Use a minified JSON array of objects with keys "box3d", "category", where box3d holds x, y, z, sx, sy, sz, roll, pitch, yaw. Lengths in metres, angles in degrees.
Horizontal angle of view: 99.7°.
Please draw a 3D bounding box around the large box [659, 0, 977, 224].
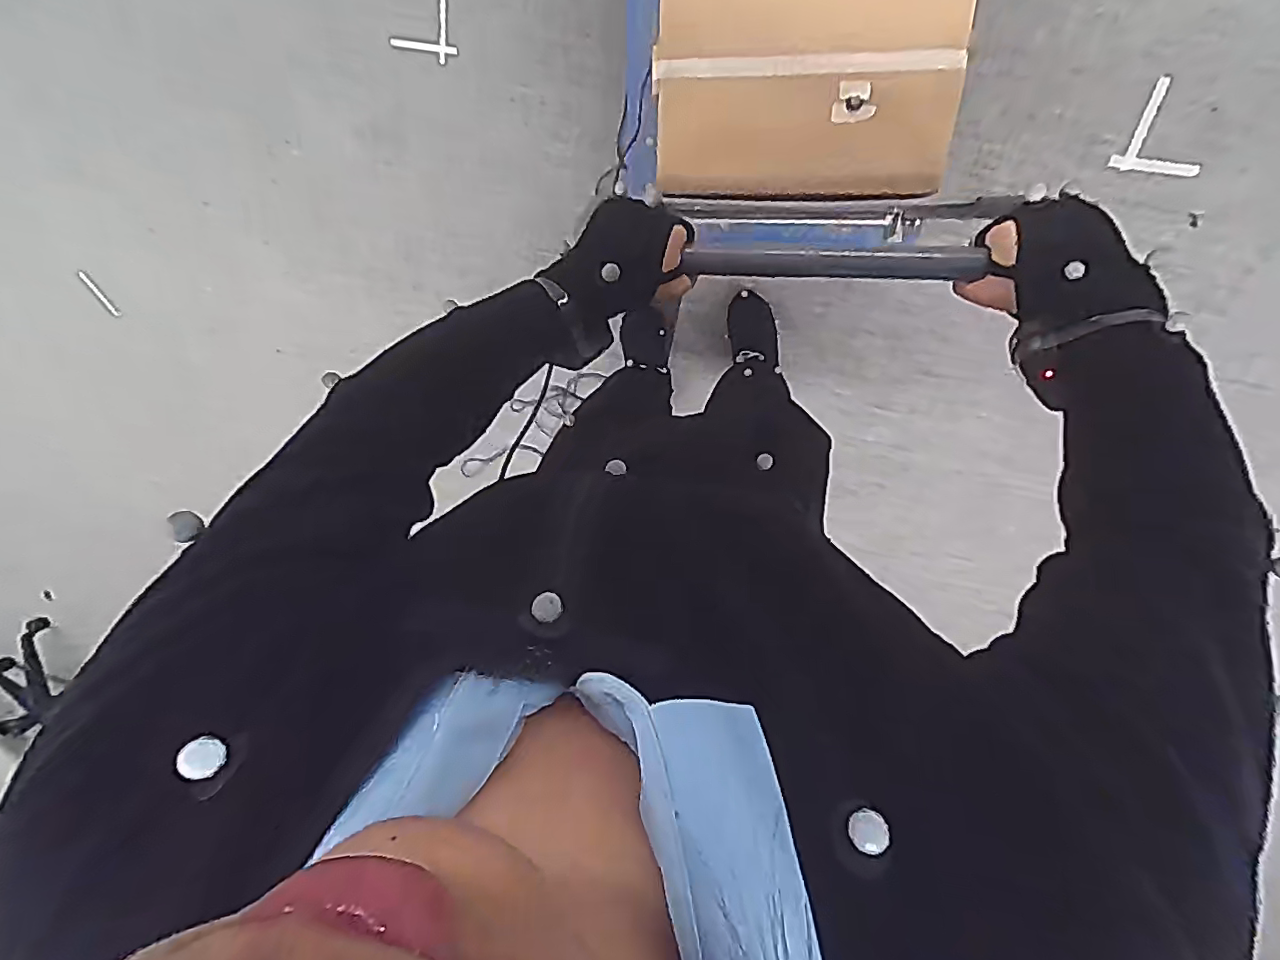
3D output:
[{"box3d":[0.240,-0.591,0.864,0.408,0.320,0.320,3,113,6],"category":"large box"}]
